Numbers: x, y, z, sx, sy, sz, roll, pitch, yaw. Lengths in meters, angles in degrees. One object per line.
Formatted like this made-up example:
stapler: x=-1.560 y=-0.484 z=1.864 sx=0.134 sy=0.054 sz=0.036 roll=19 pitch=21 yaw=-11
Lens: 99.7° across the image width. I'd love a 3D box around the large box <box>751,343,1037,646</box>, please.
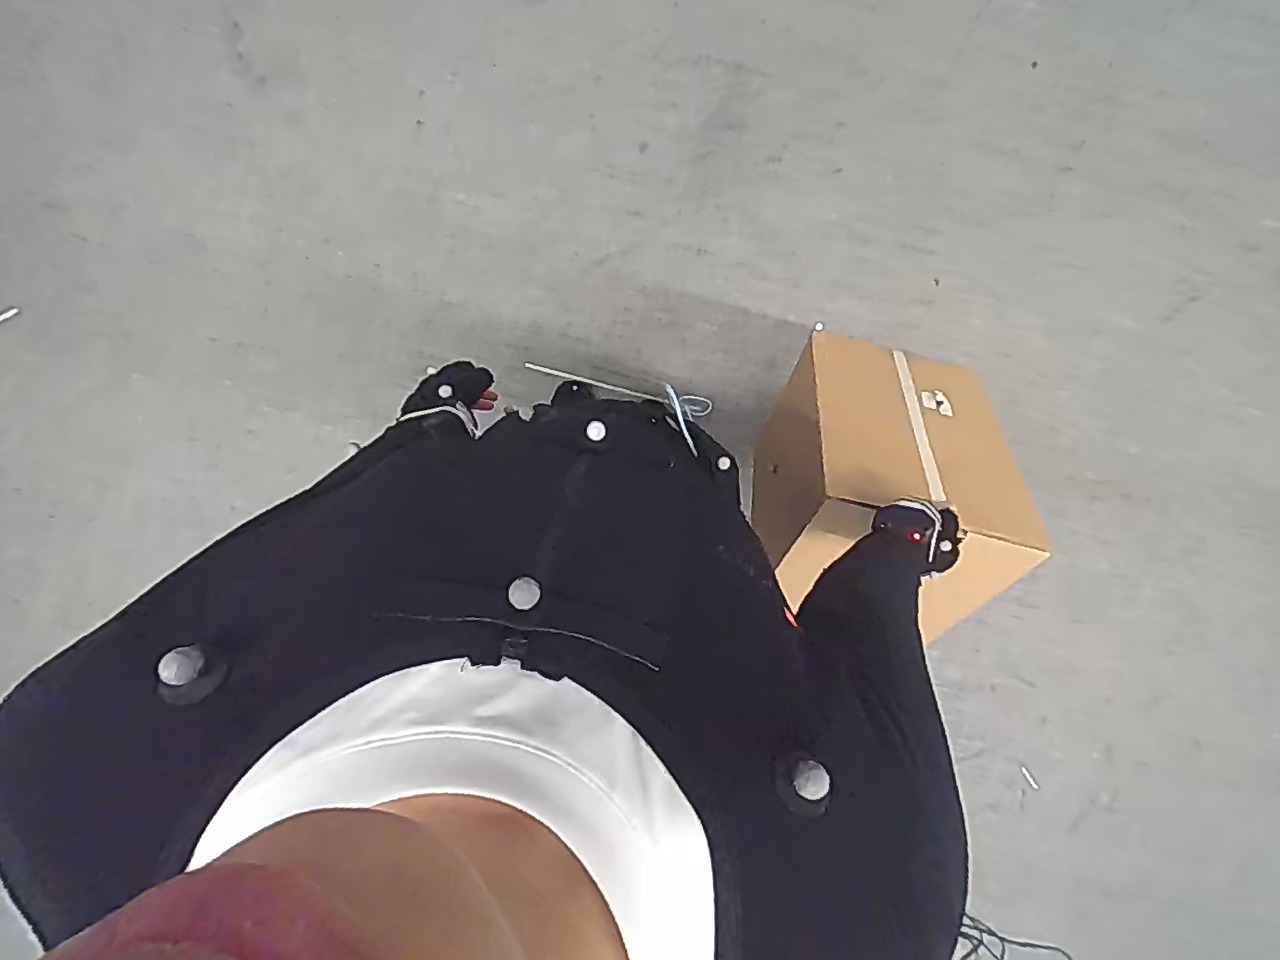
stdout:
large box: x=0.393 y=0.024 z=0.966 sx=0.320 sy=0.408 sz=0.320 roll=15 pitch=136 yaw=-2
